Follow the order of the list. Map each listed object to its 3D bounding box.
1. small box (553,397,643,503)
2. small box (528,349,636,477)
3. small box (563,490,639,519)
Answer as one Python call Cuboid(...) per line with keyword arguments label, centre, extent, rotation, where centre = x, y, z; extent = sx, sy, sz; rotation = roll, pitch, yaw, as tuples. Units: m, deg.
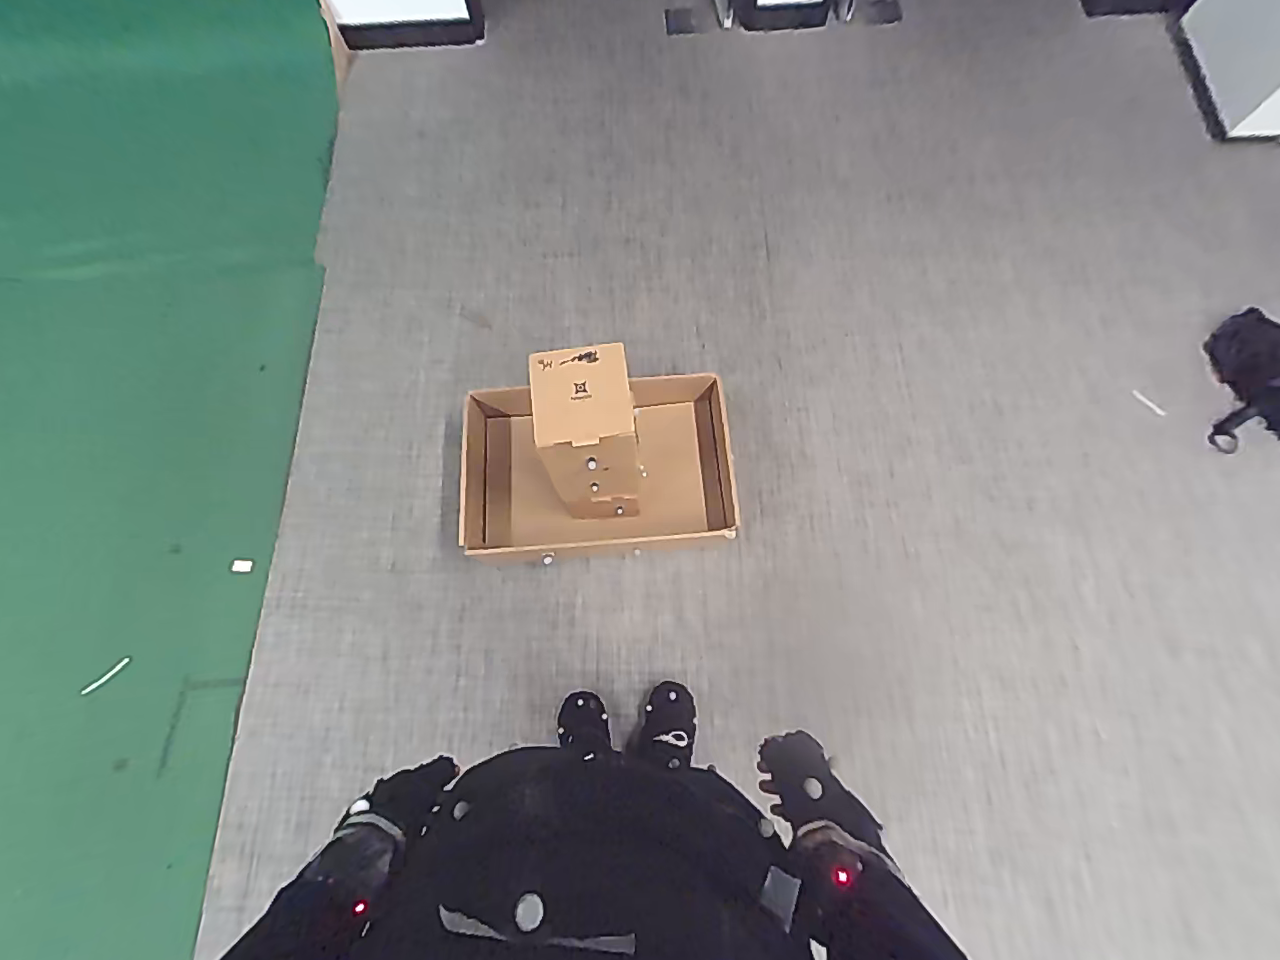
Cuboid(label="small box", centre=(-0.091, -0.057, 1.134), extent=(0.179, 0.176, 0.168), rotation=(-8, 72, -2))
Cuboid(label="small box", centre=(-0.099, -0.111, 0.980), extent=(0.168, 0.176, 0.179), rotation=(-7, 72, -1))
Cuboid(label="small box", centre=(-0.090, -0.008, 1.290), extent=(0.168, 0.176, 0.179), rotation=(-3, 70, 0))
